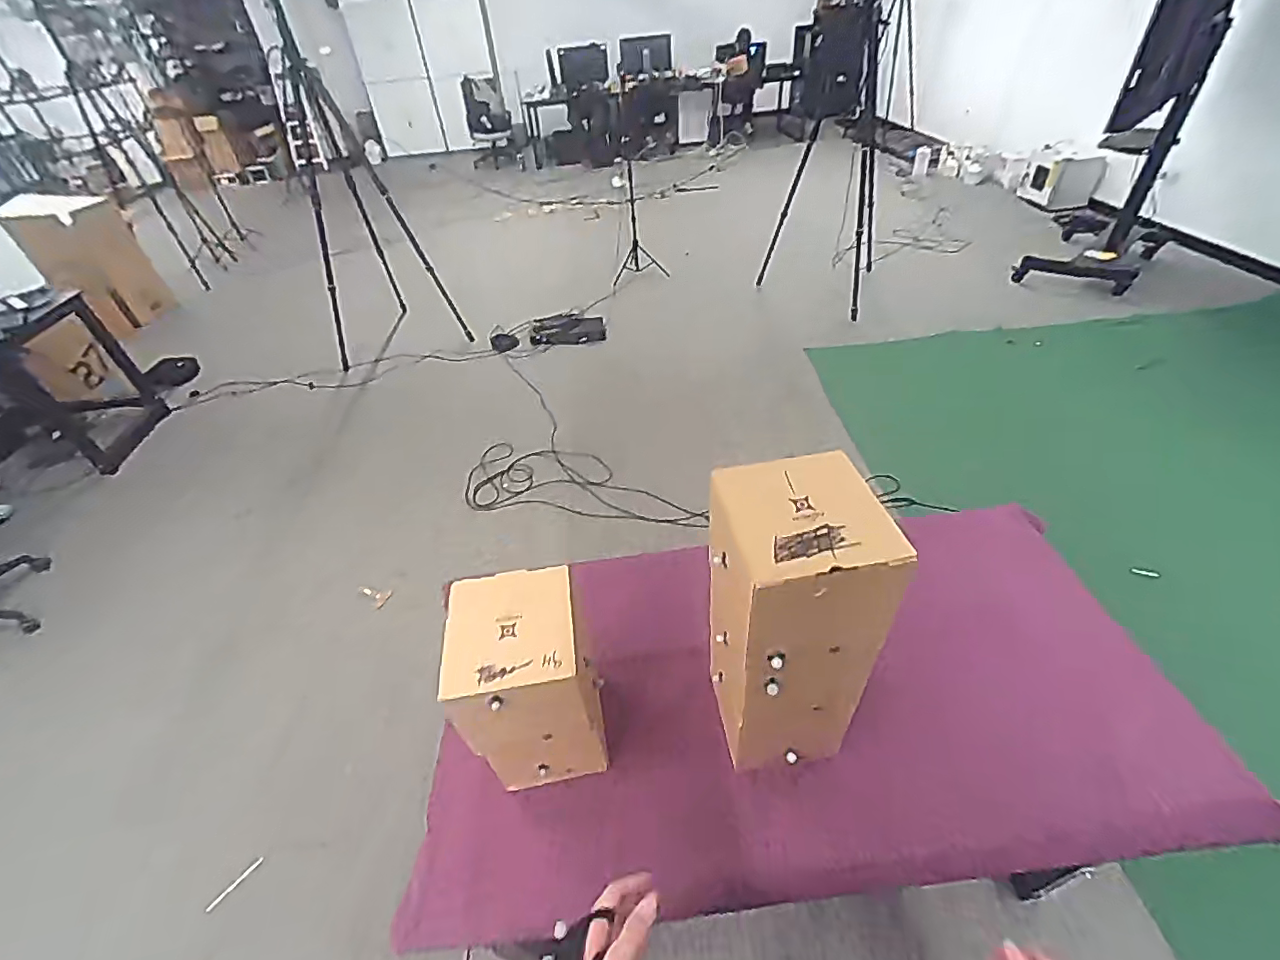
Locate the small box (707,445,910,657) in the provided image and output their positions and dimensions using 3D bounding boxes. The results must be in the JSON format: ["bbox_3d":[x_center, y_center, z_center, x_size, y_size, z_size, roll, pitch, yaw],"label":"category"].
[{"bbox_3d":[0.178,0.087,0.629,0.168,0.176,0.179,-9,40,-3],"label":"small box"}]

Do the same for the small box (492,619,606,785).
[{"bbox_3d":[-0.152,0.354,0.867,0.168,0.176,0.179,-10,43,-5],"label":"small box"}]

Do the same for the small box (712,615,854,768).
[{"bbox_3d":[0.211,0.323,0.855,0.168,0.176,0.179,-9,42,-2],"label":"small box"}]

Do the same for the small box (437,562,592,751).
[{"bbox_3d":[-0.163,0.242,0.747,0.168,0.176,0.179,-9,42,-3],"label":"small box"}]
